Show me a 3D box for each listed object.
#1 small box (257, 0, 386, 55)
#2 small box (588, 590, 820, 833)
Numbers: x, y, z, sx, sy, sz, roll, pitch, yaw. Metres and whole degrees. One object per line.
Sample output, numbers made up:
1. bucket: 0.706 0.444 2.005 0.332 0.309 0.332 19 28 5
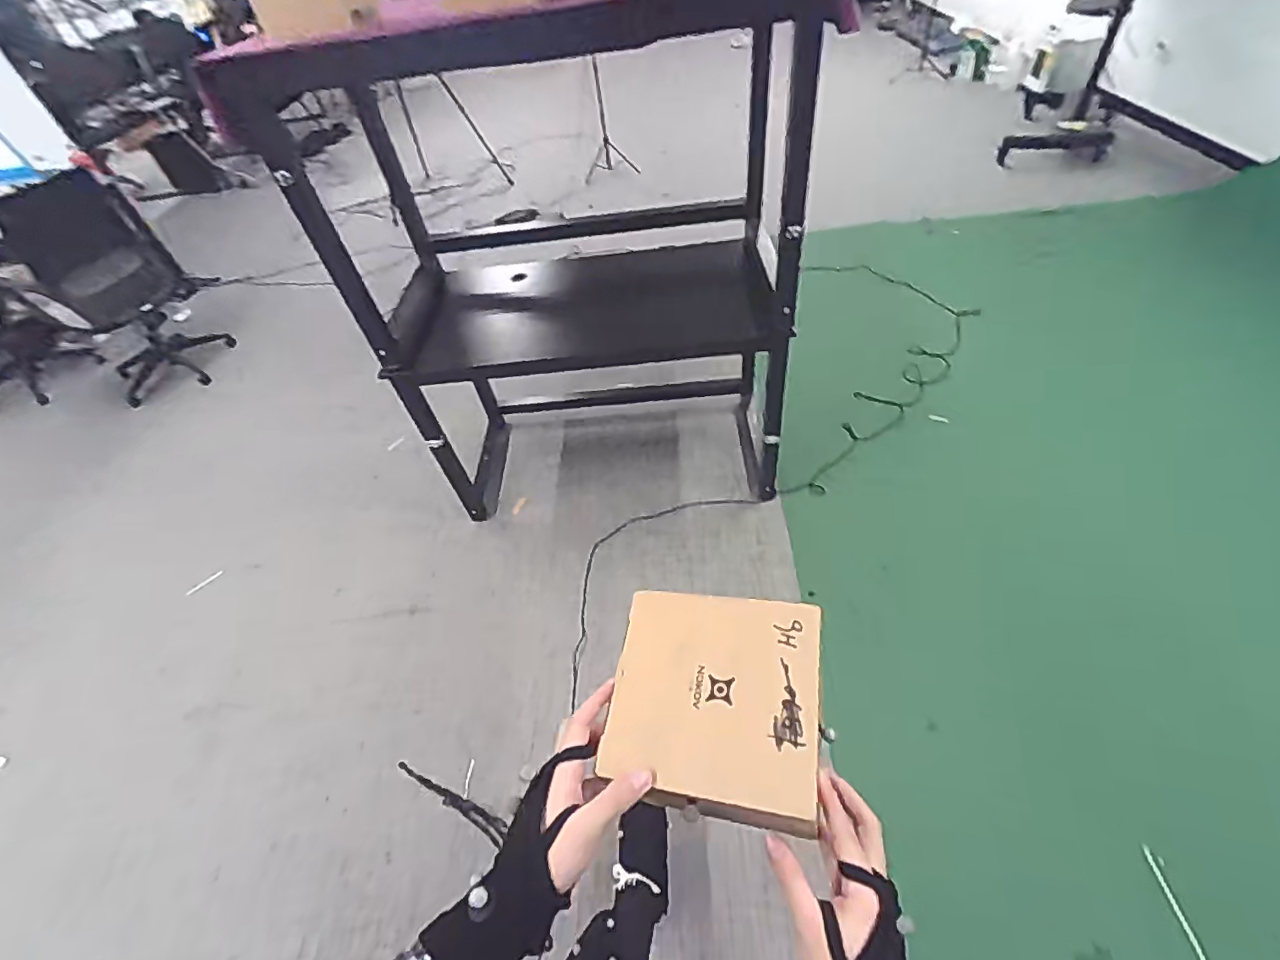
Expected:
1. small box: -0.623 -0.950 1.043 0.179 0.176 0.168 -6 47 4
2. small box: 0.076 0.222 0.519 0.179 0.176 0.168 0 54 20
